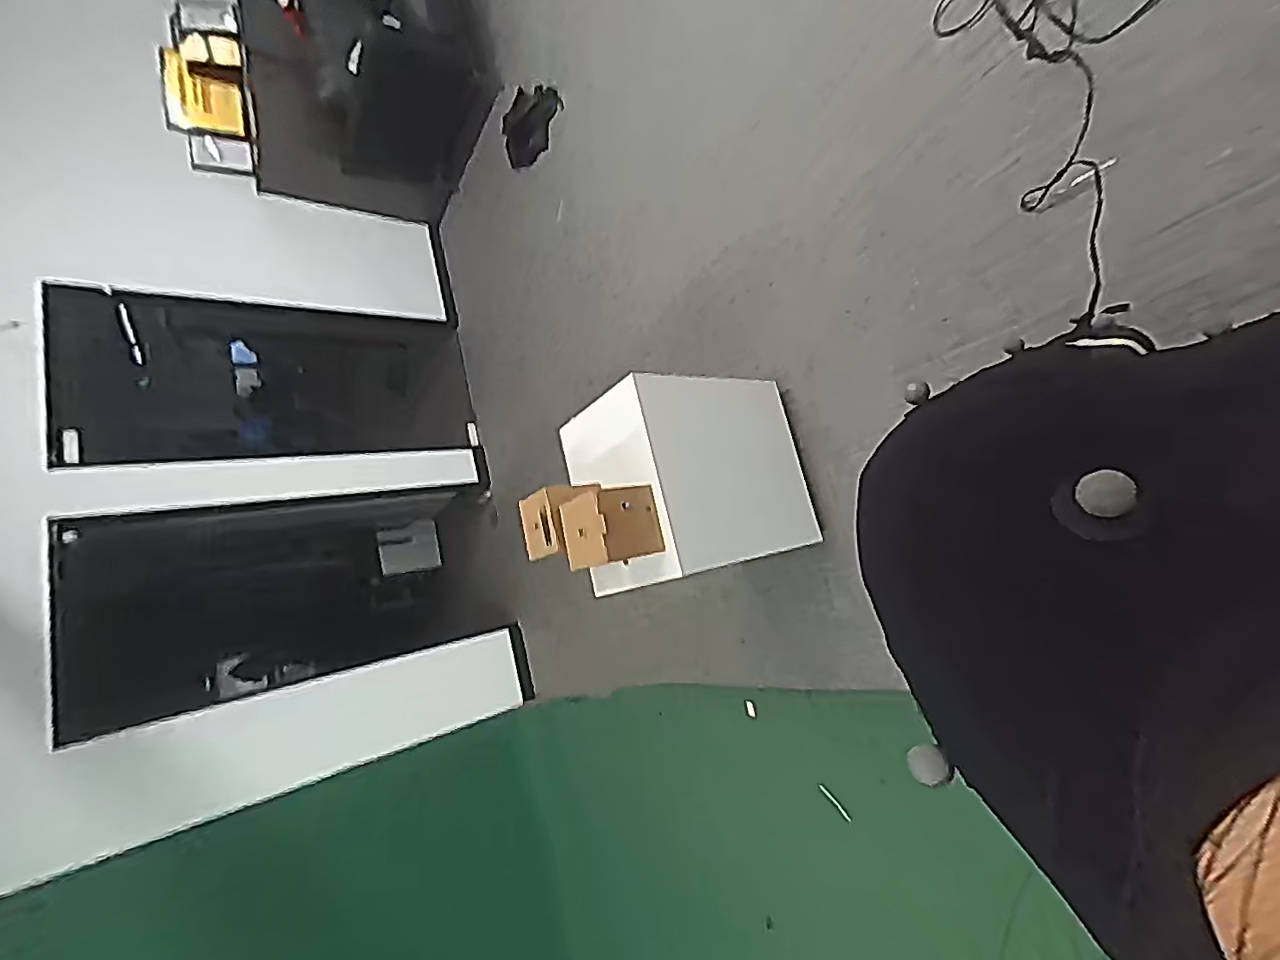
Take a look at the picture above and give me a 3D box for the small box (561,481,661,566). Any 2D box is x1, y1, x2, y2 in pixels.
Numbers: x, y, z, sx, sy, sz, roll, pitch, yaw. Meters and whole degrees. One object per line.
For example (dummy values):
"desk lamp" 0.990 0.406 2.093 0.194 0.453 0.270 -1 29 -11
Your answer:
"small box" -0.065 0.102 1.298 0.179 0.176 0.168 -25 73 53
